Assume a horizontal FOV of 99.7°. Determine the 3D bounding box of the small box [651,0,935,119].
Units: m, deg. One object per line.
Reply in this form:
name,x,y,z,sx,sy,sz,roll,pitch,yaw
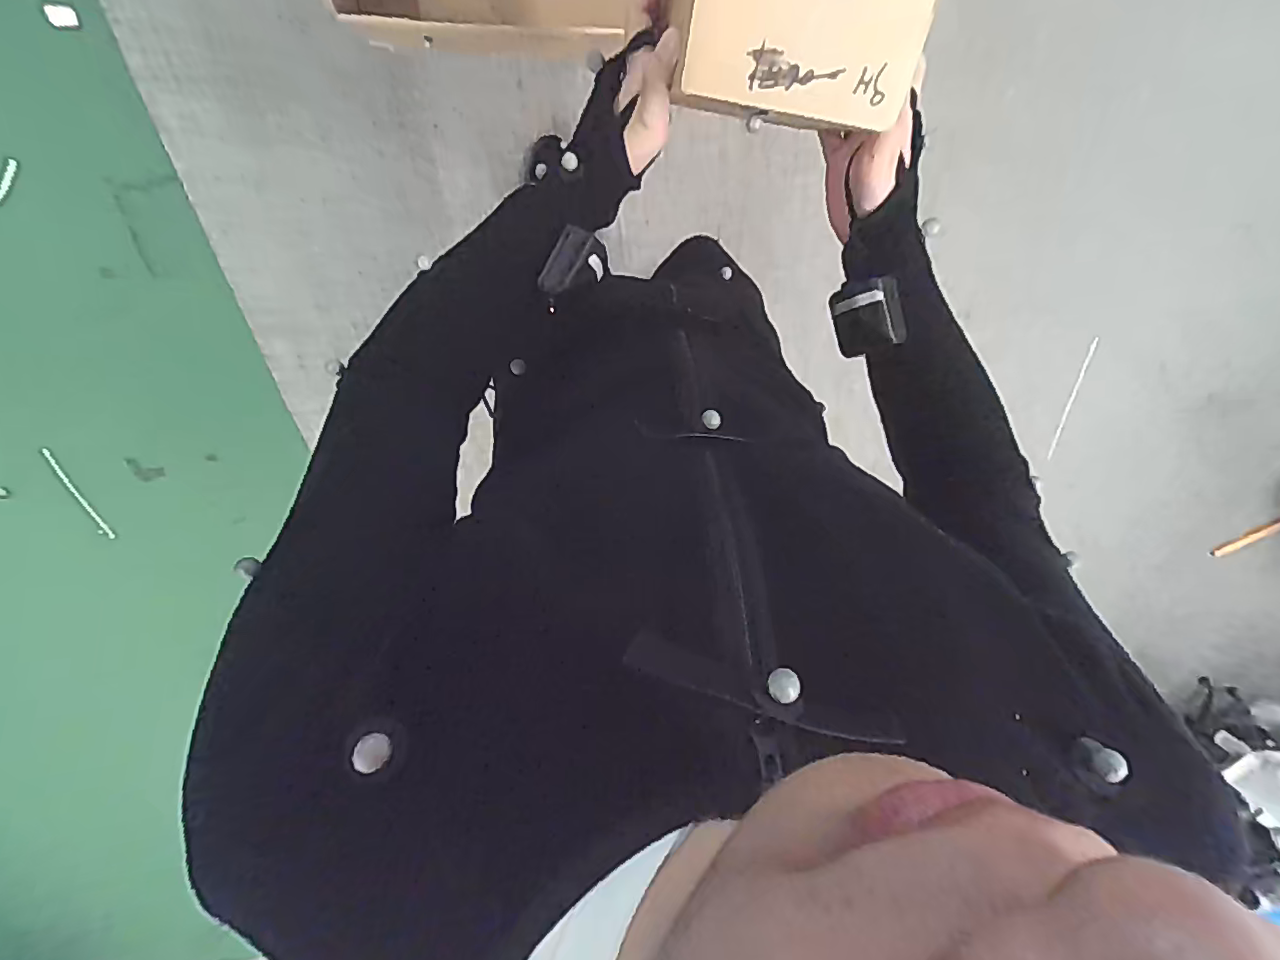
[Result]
small box,0.107,-0.383,0.398,0.168,0.176,0.179,3,123,-10
